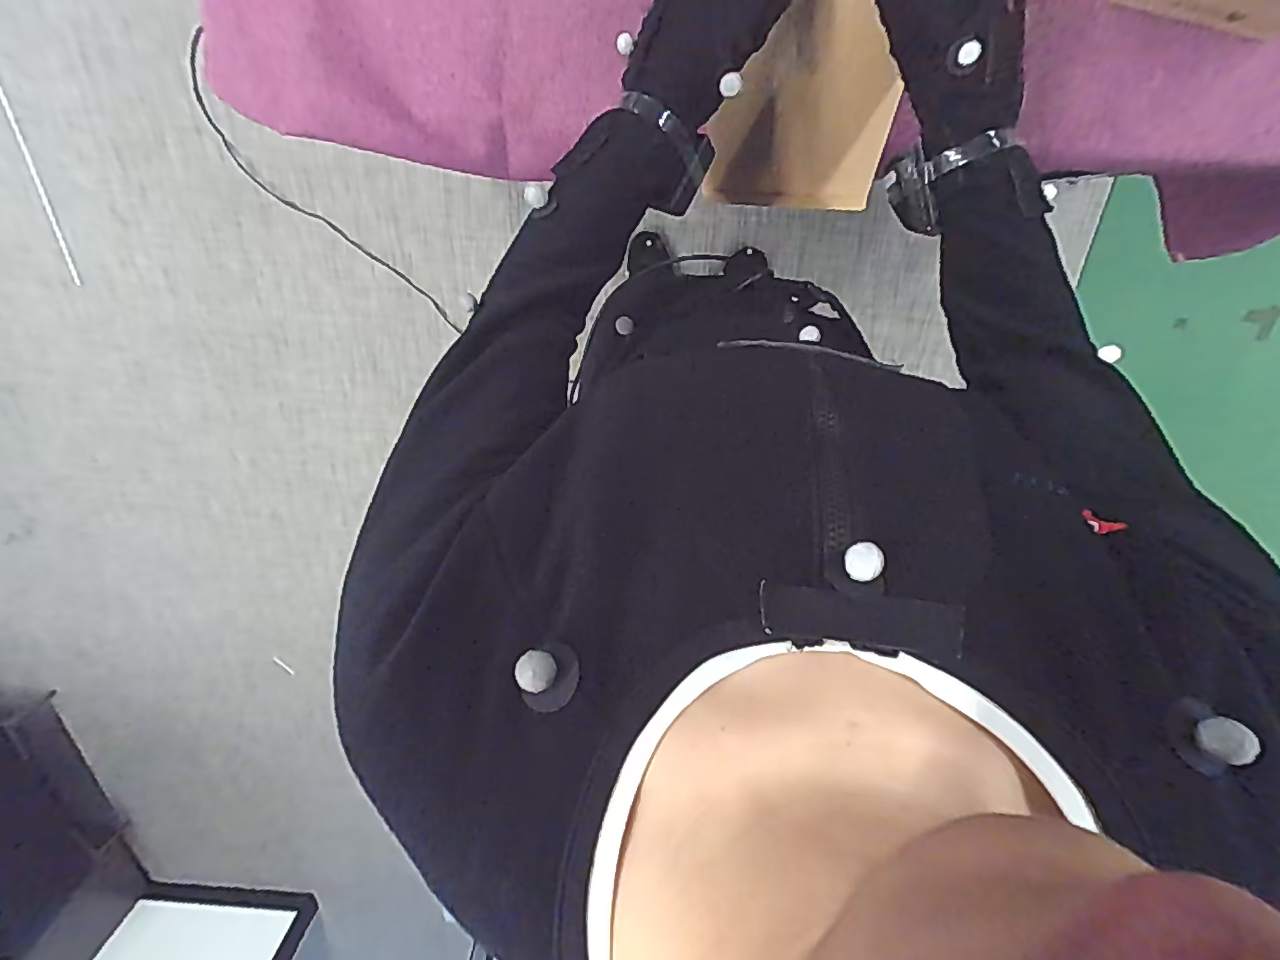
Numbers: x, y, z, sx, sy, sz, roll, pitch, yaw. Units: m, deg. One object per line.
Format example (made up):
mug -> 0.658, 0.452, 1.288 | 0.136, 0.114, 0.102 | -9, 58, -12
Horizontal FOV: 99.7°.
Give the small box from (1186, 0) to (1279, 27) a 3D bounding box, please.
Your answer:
small box -> 0.535, -0.481, 0.401 | 0.168, 0.176, 0.179 | 13, 115, -2
